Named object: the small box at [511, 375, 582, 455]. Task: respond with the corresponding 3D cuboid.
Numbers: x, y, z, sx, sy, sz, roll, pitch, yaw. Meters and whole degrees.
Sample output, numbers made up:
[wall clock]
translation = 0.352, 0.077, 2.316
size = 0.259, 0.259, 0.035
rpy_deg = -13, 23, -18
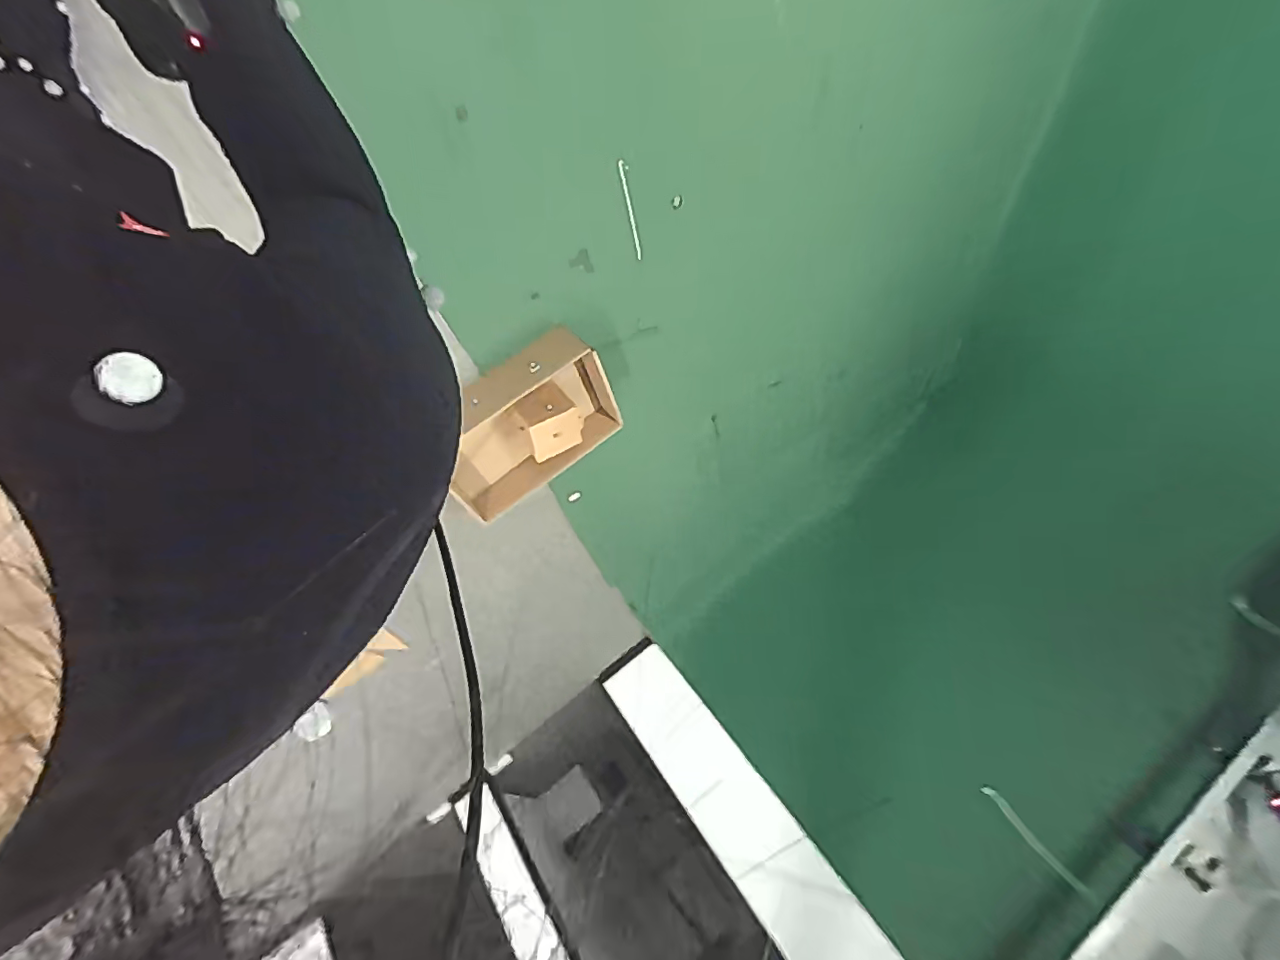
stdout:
[small box]
translation = -0.318, -0.222, 1.815
size = 0.179, 0.176, 0.168
rpy_deg = -29, 145, -20
